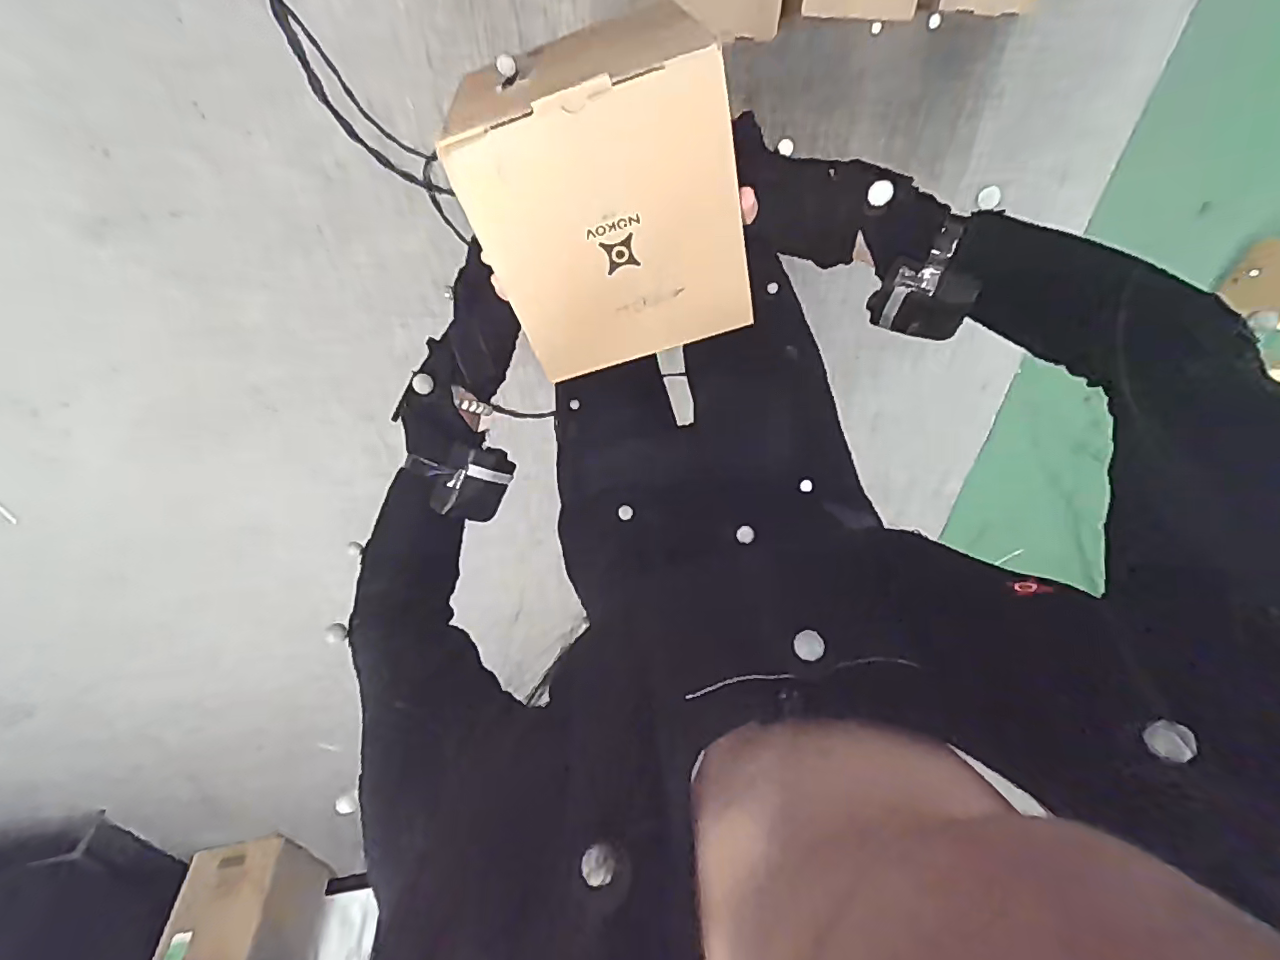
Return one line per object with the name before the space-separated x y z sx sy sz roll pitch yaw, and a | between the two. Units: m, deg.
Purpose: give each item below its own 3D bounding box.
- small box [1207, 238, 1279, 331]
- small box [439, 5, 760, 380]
small box | 1.547 -0.461 1.288 0.179 0.176 0.168 3 128 -12
small box | -0.021 -0.207 0.389 0.168 0.176 0.179 -14 137 5
